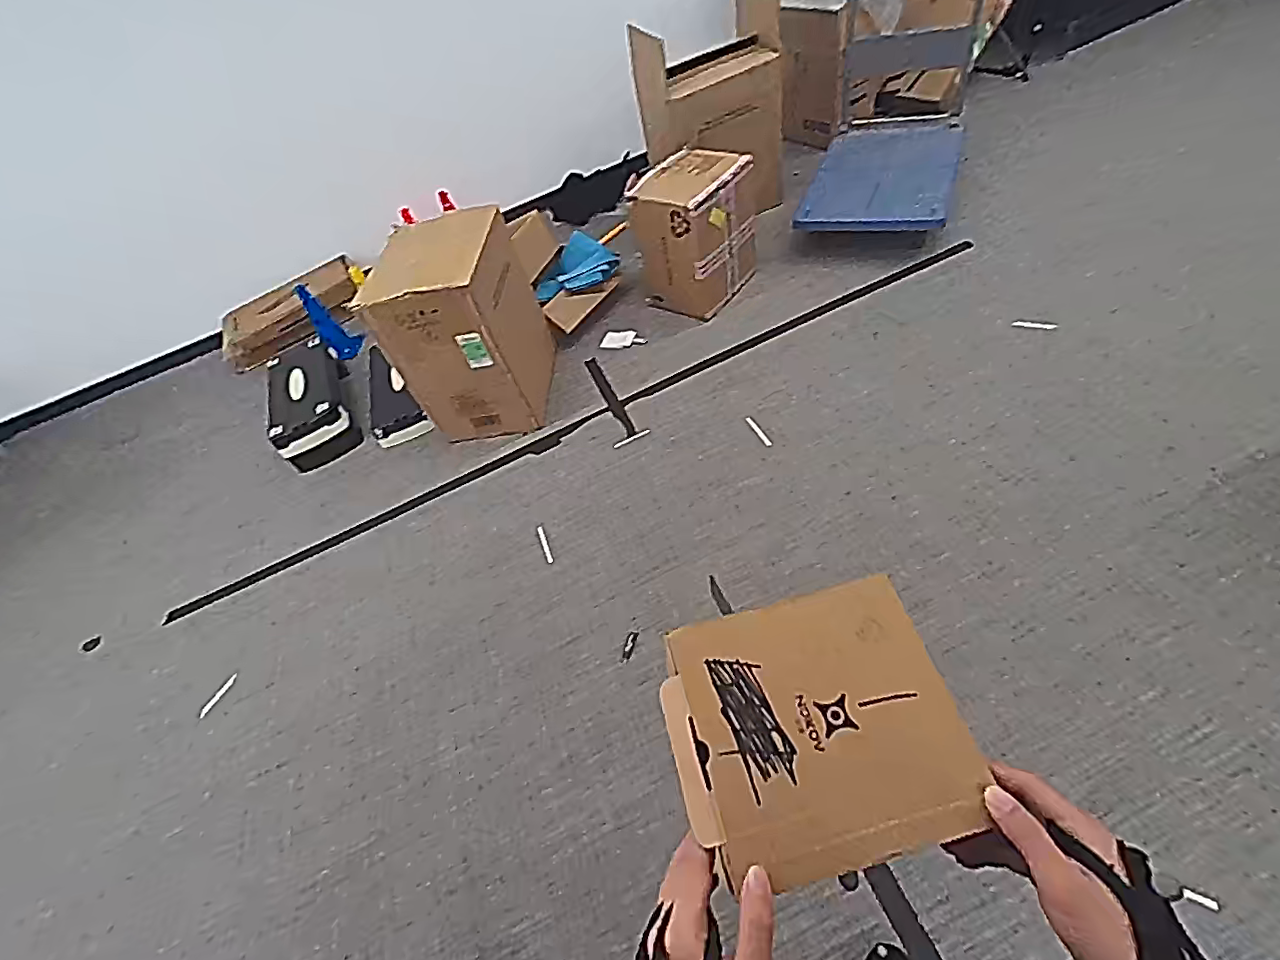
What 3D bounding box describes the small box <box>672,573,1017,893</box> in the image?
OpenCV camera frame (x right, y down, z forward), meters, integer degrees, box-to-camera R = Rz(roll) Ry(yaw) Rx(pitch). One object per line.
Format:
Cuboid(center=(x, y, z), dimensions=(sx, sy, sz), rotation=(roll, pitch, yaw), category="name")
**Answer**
Cuboid(center=(0.130, 0.197, 0.425), dimensions=(0.179, 0.176, 0.168), rotation=(-13, 58, -4), category="small box")
